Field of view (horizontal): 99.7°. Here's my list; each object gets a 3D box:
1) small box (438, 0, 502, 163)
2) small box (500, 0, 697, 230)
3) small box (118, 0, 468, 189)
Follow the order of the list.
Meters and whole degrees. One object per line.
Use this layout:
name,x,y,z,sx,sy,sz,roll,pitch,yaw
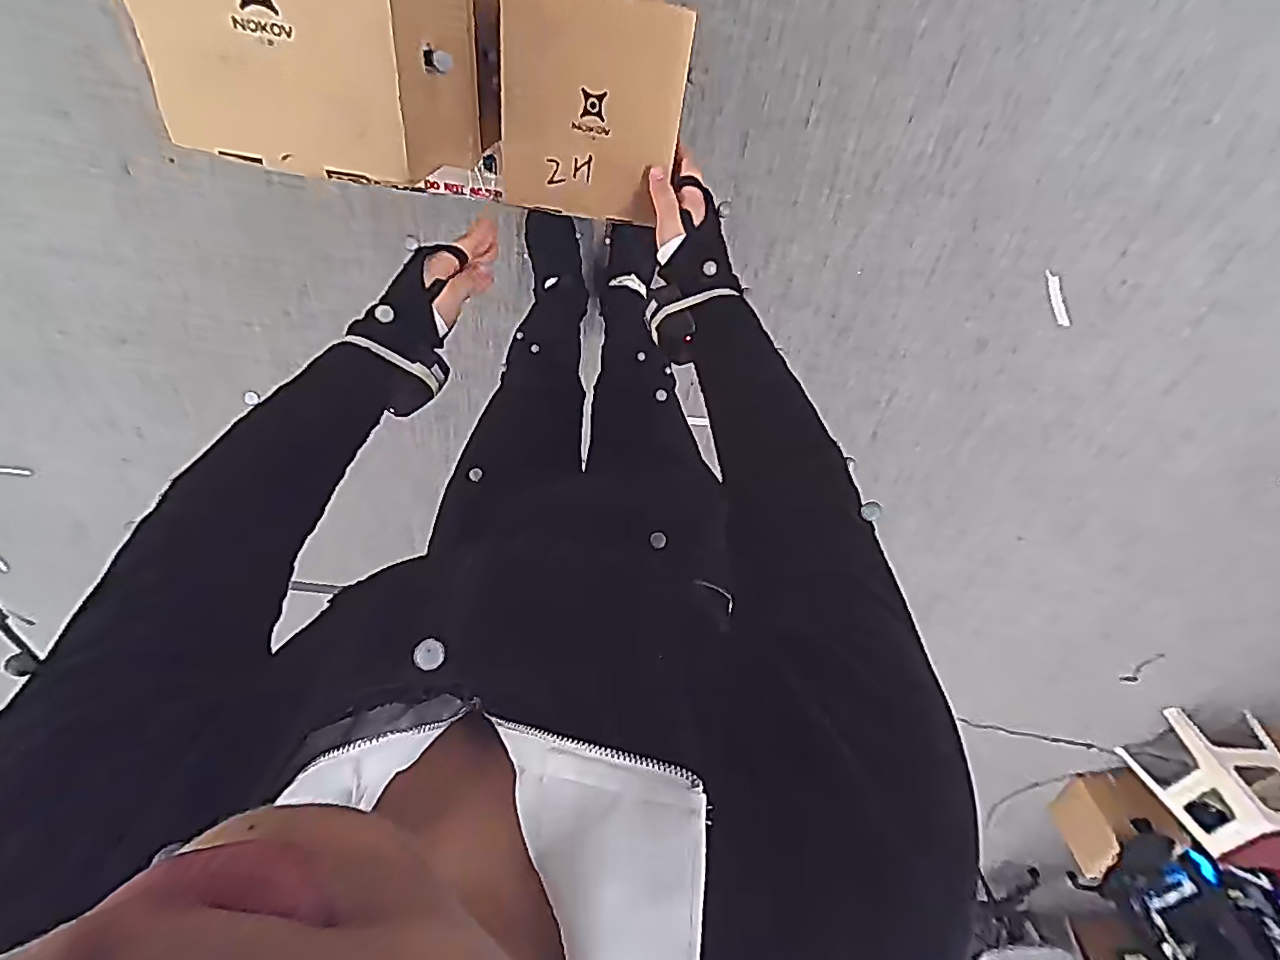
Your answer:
small box,-0.230,-0.429,0.521,0.168,0.176,0.179,6,130,-3
small box,-0.046,-0.383,0.557,0.168,0.176,0.179,7,129,-5
small box,-0.228,-0.335,0.386,0.168,0.176,0.179,7,130,-4
